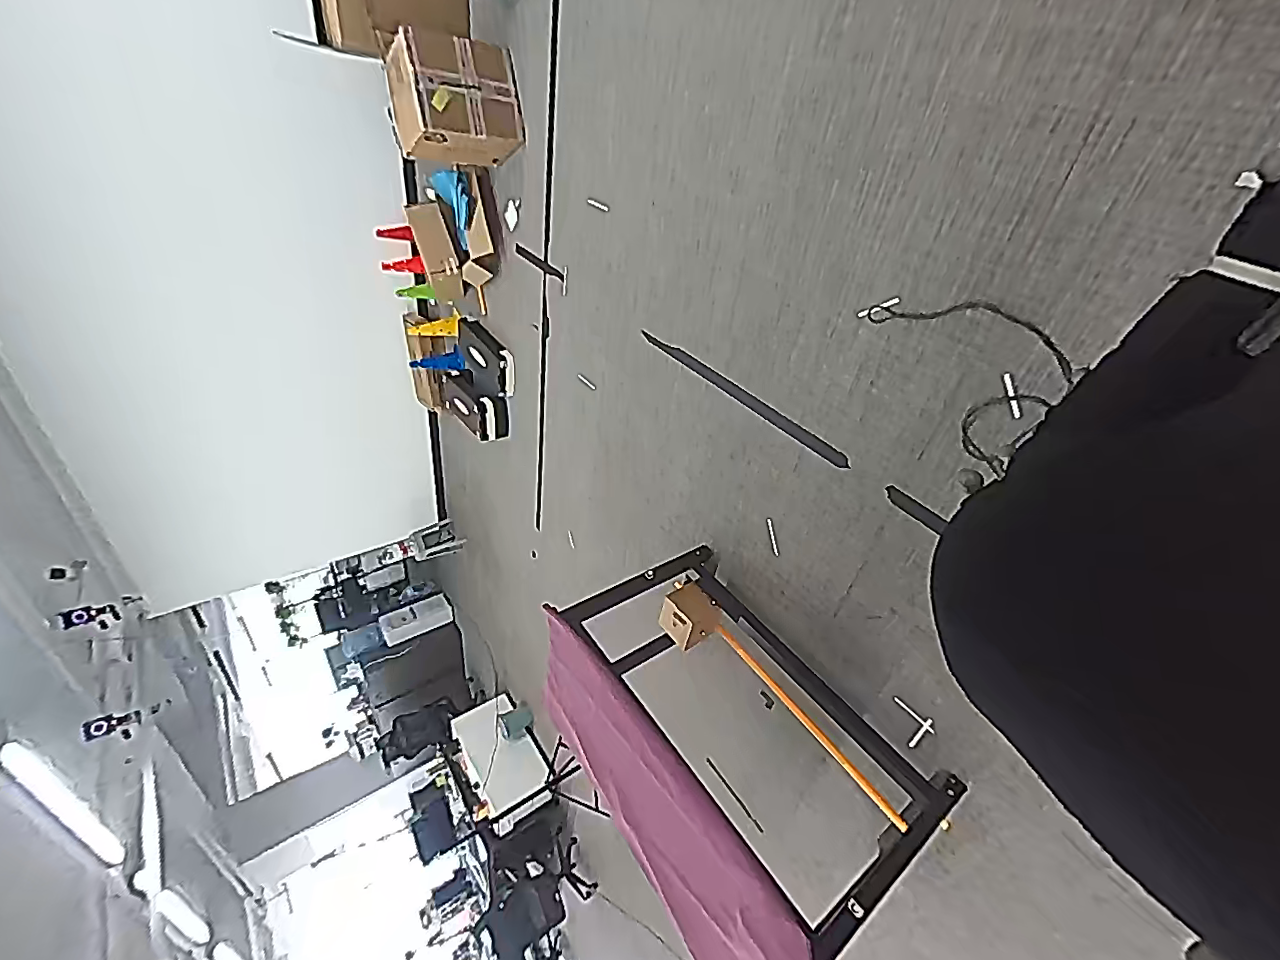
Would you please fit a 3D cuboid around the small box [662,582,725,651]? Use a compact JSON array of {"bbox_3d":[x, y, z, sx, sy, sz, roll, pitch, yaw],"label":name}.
[{"bbox_3d":[0.215,0.537,2.150,0.168,0.176,0.179,42,138,36],"label":"small box"}]
